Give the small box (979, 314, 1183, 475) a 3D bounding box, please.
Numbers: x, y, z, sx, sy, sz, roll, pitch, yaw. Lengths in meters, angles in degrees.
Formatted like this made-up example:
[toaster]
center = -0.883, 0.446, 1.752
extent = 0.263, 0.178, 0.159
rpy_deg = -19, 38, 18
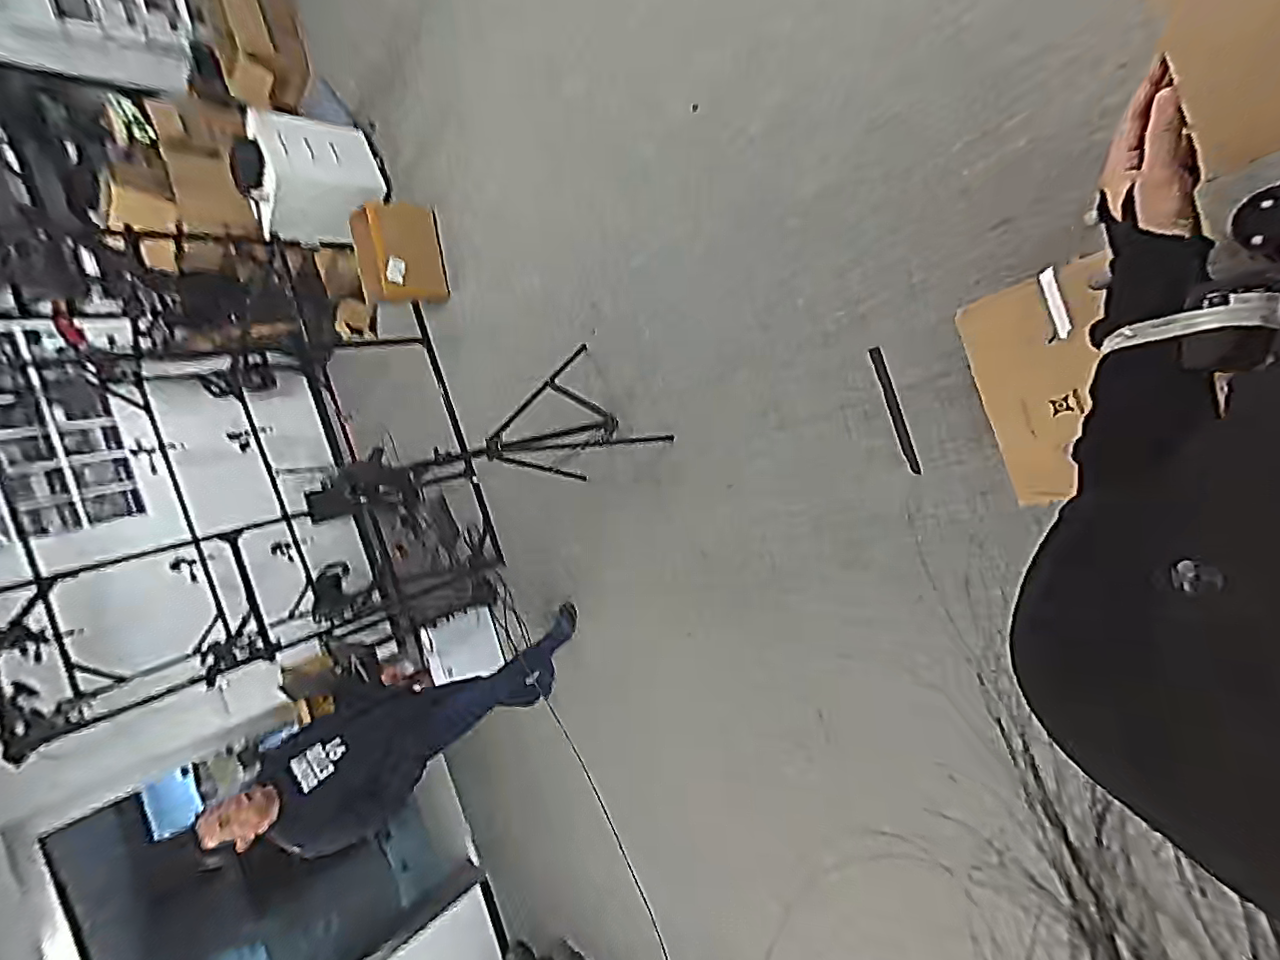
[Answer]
[small box]
center = 0.619, -0.122, 0.761
extent = 0.179, 0.176, 0.168
rpy_deg = -22, 87, 48
